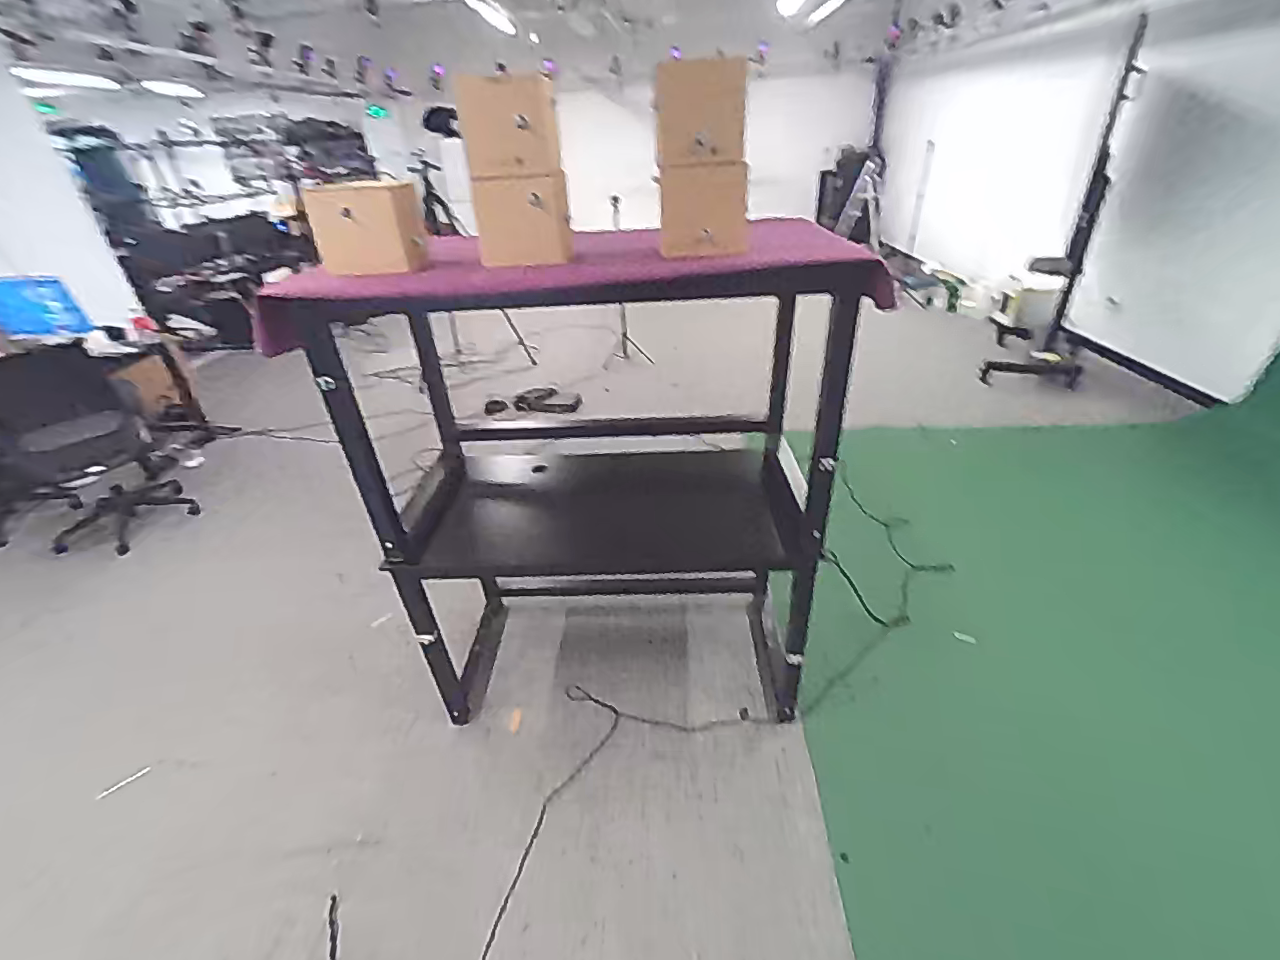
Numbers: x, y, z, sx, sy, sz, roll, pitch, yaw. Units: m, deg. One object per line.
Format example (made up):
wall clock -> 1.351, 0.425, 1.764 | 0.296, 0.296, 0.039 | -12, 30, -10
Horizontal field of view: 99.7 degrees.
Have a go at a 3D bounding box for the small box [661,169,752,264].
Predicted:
small box -> 0.135, -0.564, 1.153 | 0.179, 0.176, 0.168 | -2, 29, 3

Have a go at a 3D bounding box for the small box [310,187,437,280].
small box -> -0.569, -0.539, 1.179 | 0.179, 0.176, 0.168 | -2, 31, 0

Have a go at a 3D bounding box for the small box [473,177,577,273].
small box -> -0.238, -0.554, 1.173 | 0.179, 0.176, 0.168 | -2, 31, 3

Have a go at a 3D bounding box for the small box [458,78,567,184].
small box -> -0.247, -0.698, 1.096 | 0.168, 0.176, 0.179 | -1, 30, 3
